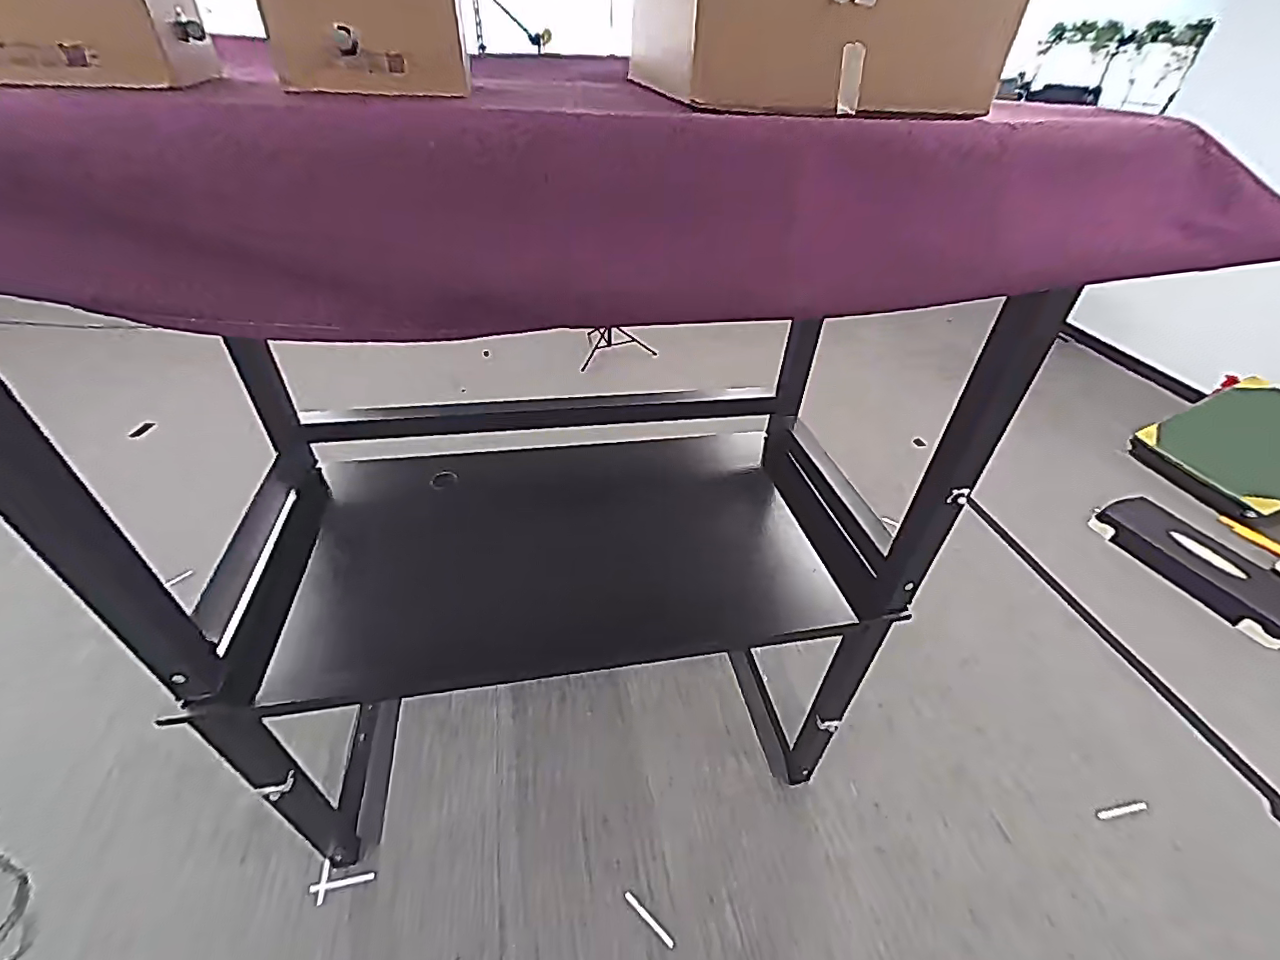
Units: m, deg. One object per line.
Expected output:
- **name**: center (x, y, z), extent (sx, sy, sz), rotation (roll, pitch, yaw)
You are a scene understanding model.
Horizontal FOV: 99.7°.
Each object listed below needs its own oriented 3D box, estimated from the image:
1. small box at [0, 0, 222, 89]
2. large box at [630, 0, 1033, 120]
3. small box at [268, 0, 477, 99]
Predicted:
- **small box**: center (-0.487, -0.437, 0.449), extent (0.168, 0.176, 0.179), rotation (-11, 40, -17)
- **large box**: center (0.172, -0.583, 0.569), extent (0.320, 0.320, 0.408), rotation (-3, 38, -9)
- **small box**: center (-0.255, -0.480, 0.520), extent (0.168, 0.176, 0.179), rotation (-6, 40, -10)
